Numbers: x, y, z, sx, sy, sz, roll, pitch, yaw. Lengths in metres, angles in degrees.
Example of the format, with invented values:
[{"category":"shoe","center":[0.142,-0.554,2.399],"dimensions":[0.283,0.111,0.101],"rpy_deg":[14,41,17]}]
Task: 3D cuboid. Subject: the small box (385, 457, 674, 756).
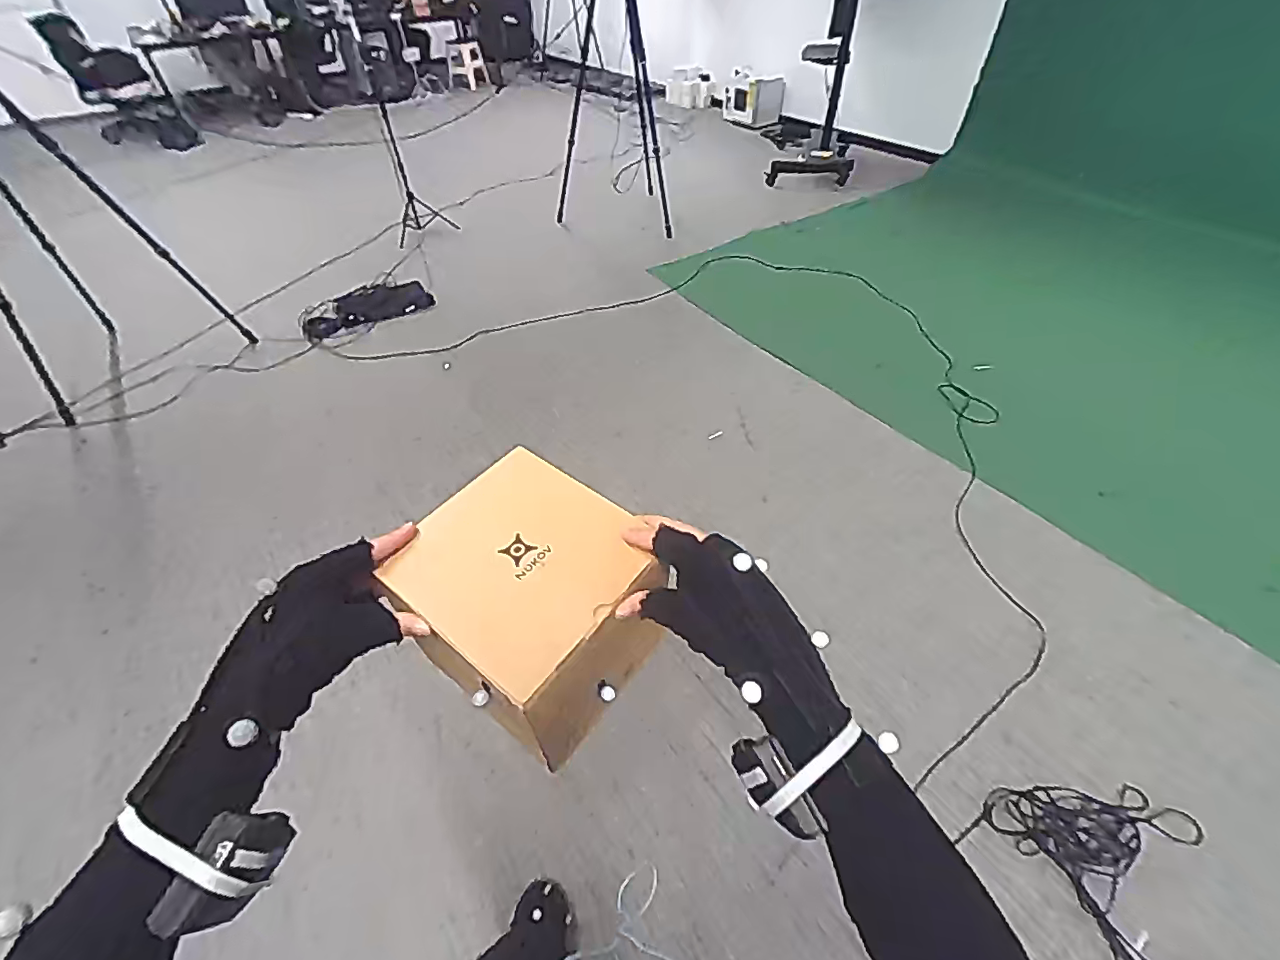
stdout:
[{"category":"small box","center":[-0.089,0.116,0.495],"dimensions":[0.179,0.176,0.168],"rpy_deg":[30,55,24]}]
